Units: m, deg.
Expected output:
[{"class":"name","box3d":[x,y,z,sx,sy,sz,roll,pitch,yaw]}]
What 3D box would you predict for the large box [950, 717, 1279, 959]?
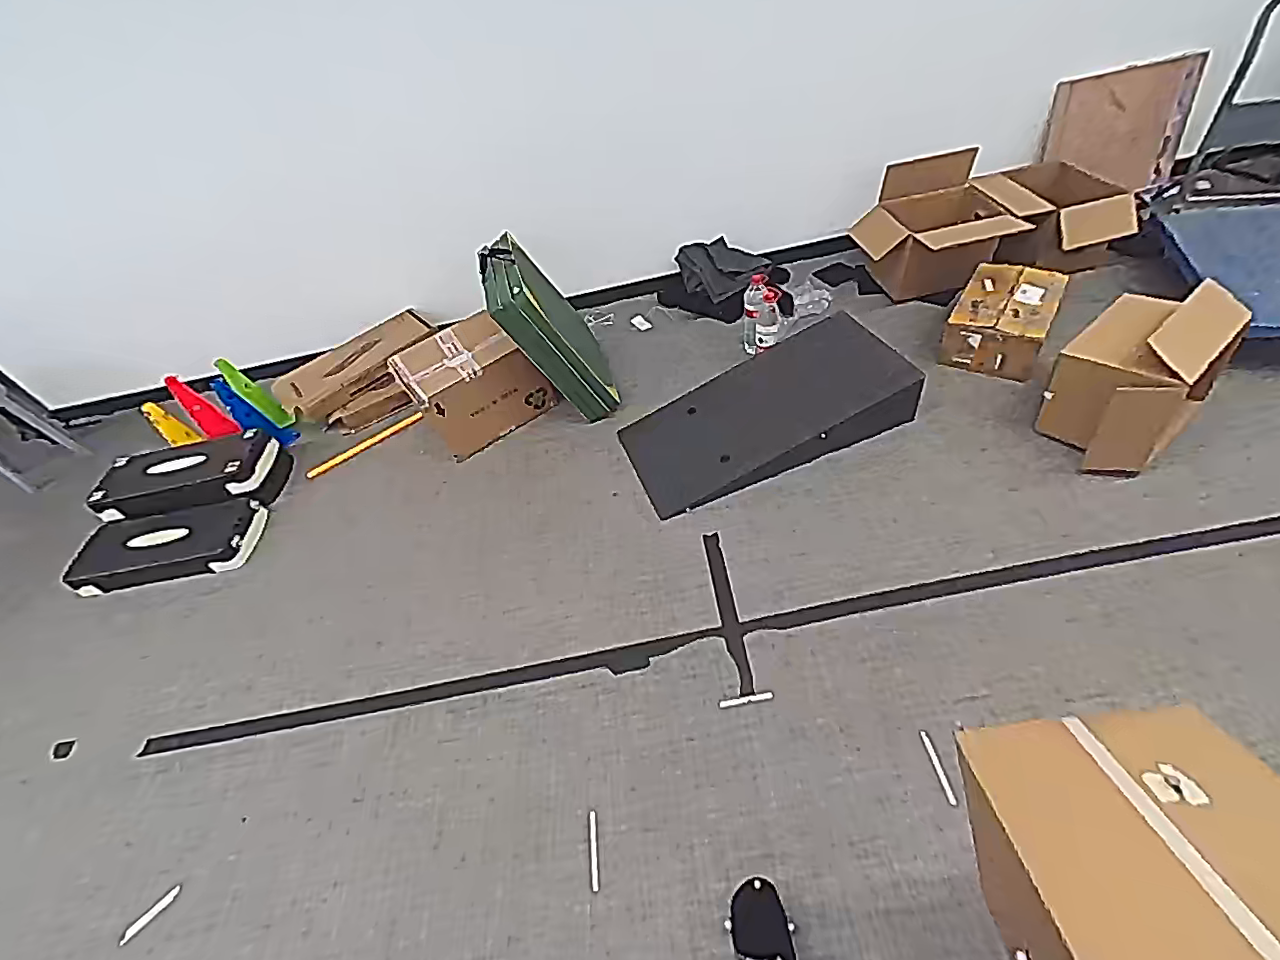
[{"class":"large box","box3d":[0.630,0.556,0.639,0.320,0.320,0.408,-11,10,12]}]
